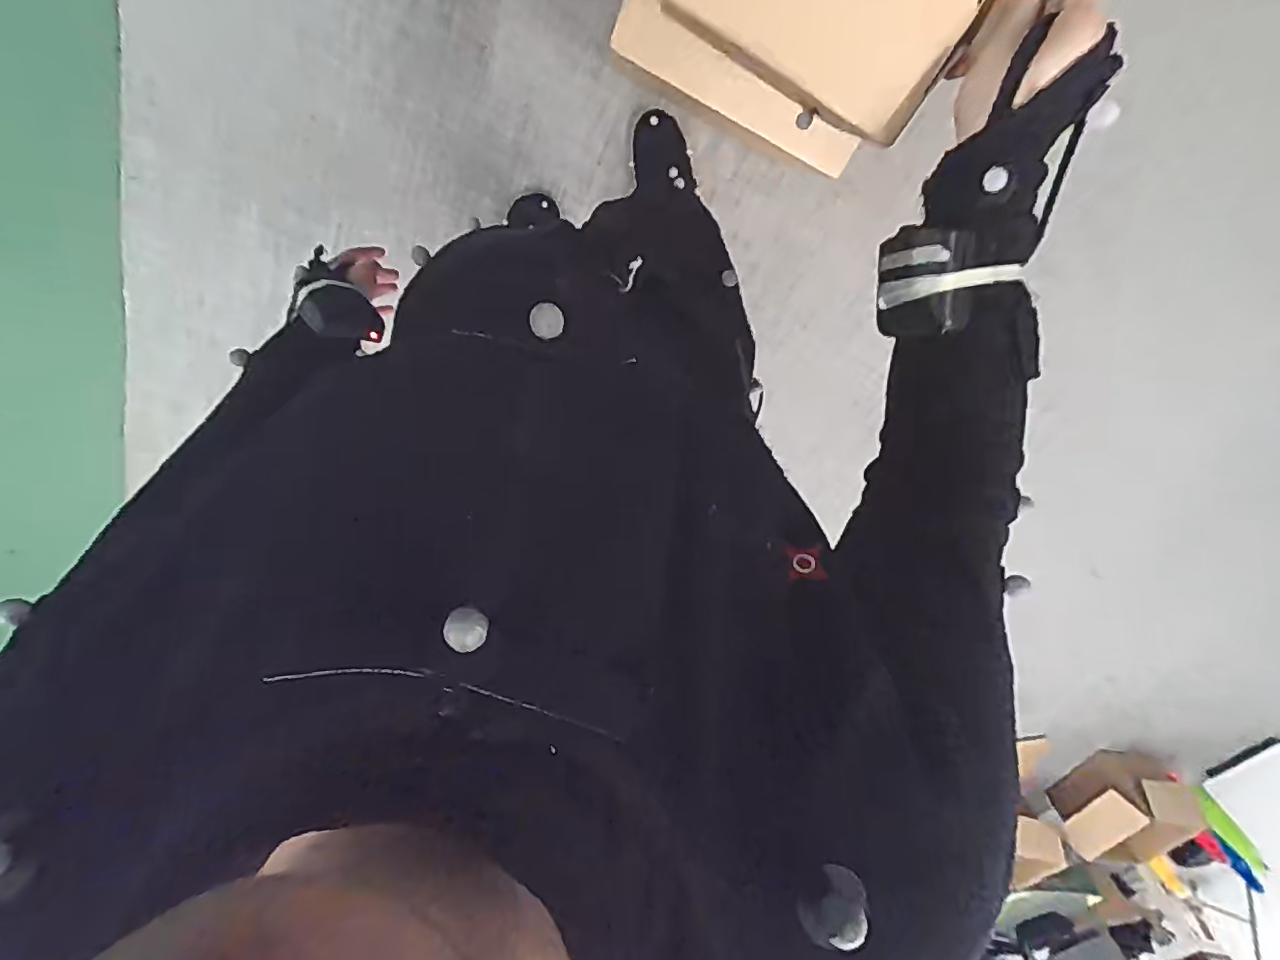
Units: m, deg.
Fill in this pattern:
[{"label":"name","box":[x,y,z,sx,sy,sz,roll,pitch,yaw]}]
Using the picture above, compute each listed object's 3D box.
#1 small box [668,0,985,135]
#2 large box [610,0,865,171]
[{"label":"small box","box":[0.129,-0.362,0.350,0.179,0.176,0.168,23,124,-14]},{"label":"large box","box":[0.191,-0.754,0.865,0.408,0.320,0.320,18,122,-17]}]
